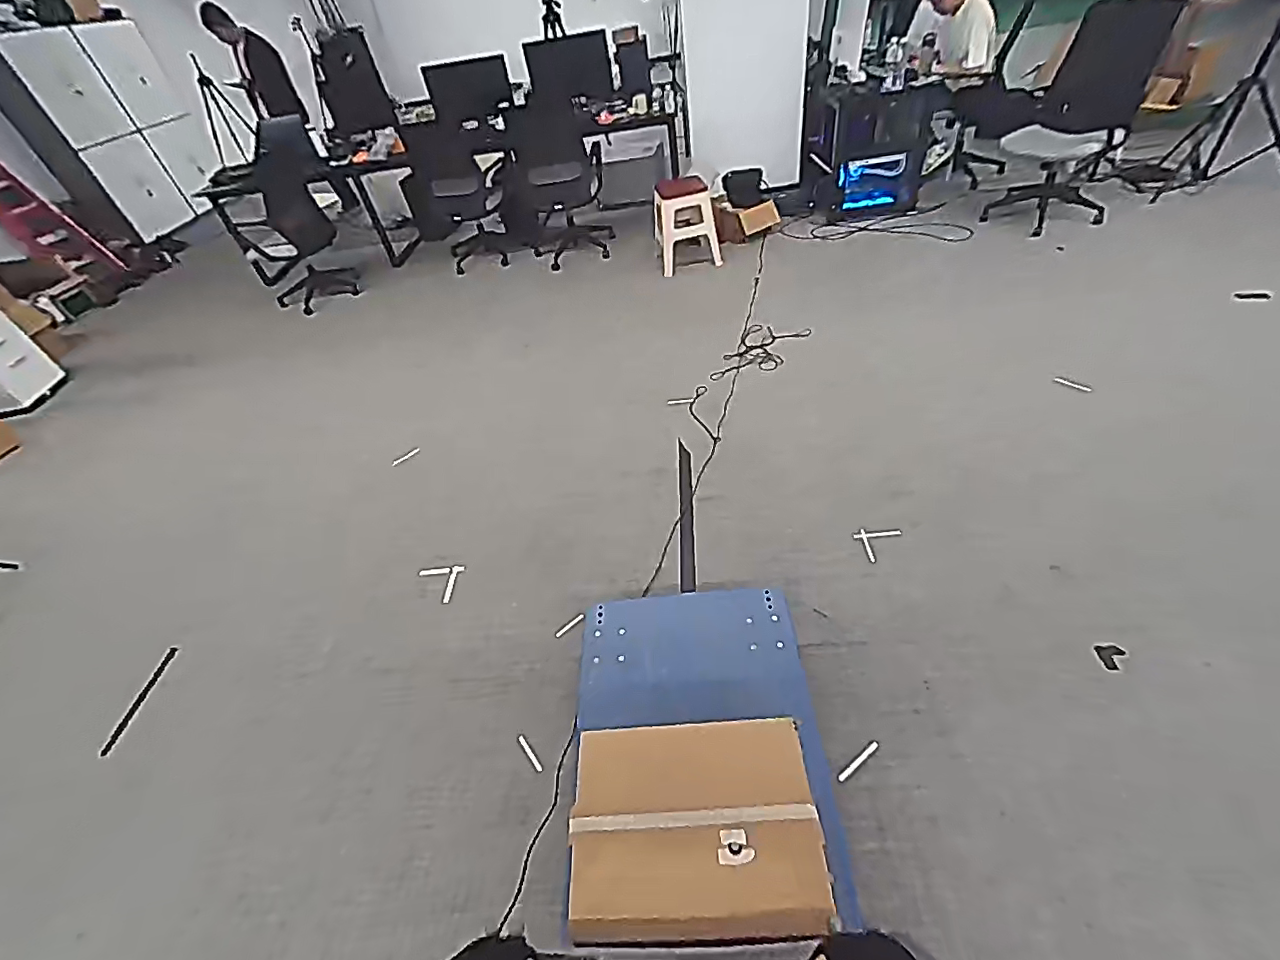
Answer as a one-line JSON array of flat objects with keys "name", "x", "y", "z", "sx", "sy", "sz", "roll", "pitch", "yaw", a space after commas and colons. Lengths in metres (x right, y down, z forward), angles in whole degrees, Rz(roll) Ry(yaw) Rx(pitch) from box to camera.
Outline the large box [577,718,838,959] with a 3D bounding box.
[{"name": "large box", "x": 0.112, "y": 0.682, "z": 1.017, "sx": 0.408, "sy": 0.320, "sz": 0.320, "roll": -6, "pitch": 43, "yaw": 4}]
